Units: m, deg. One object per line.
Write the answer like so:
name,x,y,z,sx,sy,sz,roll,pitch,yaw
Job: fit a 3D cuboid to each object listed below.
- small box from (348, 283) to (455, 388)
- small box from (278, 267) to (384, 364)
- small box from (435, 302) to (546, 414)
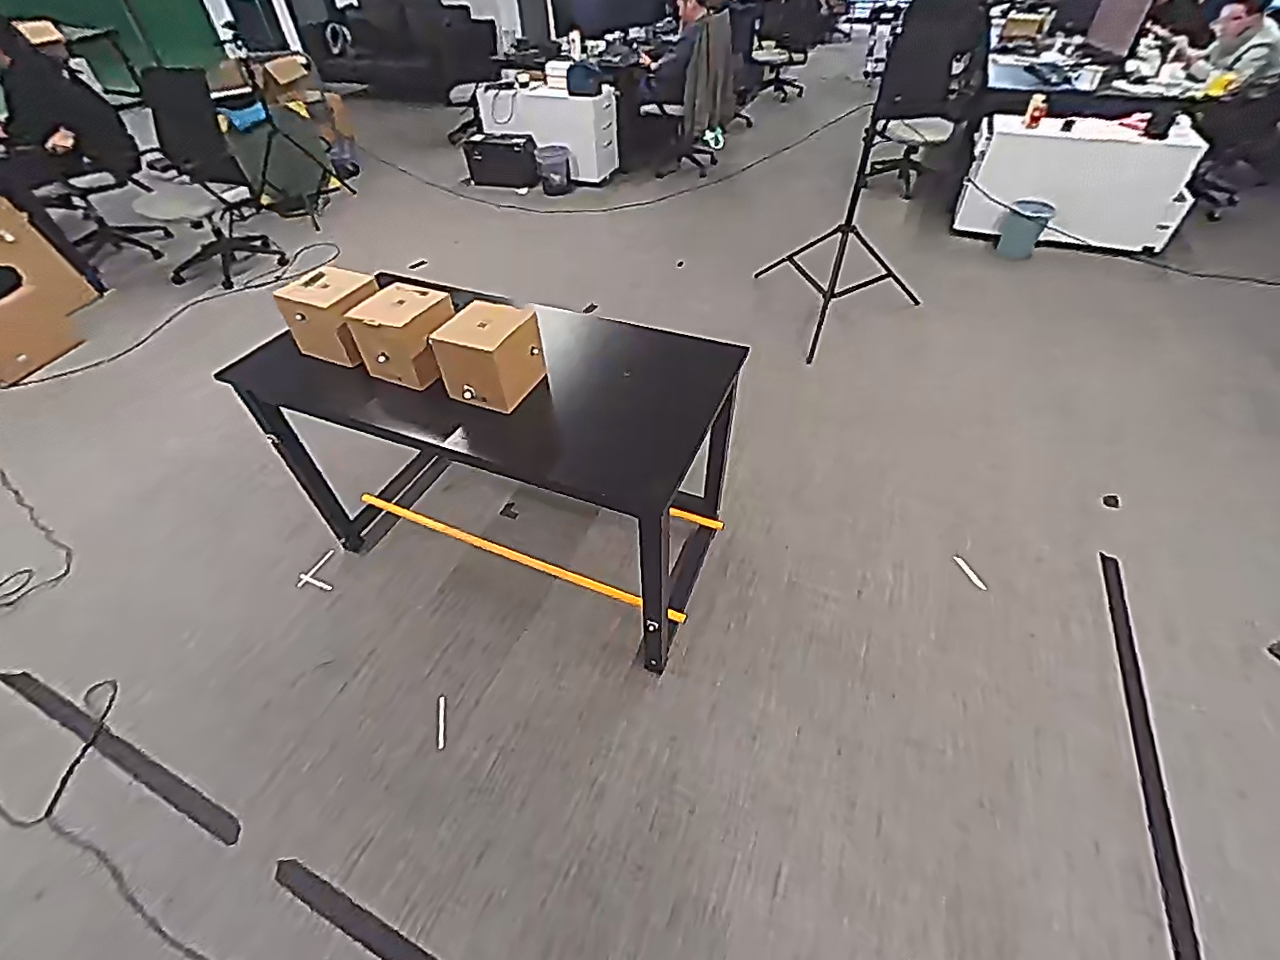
small box,-0.550,-0.346,1.305,0.168,0.176,0.179,18,49,16
small box,-0.759,-0.417,1.376,0.179,0.176,0.168,18,49,16
small box,-0.331,-0.280,1.238,0.168,0.176,0.179,15,49,17
